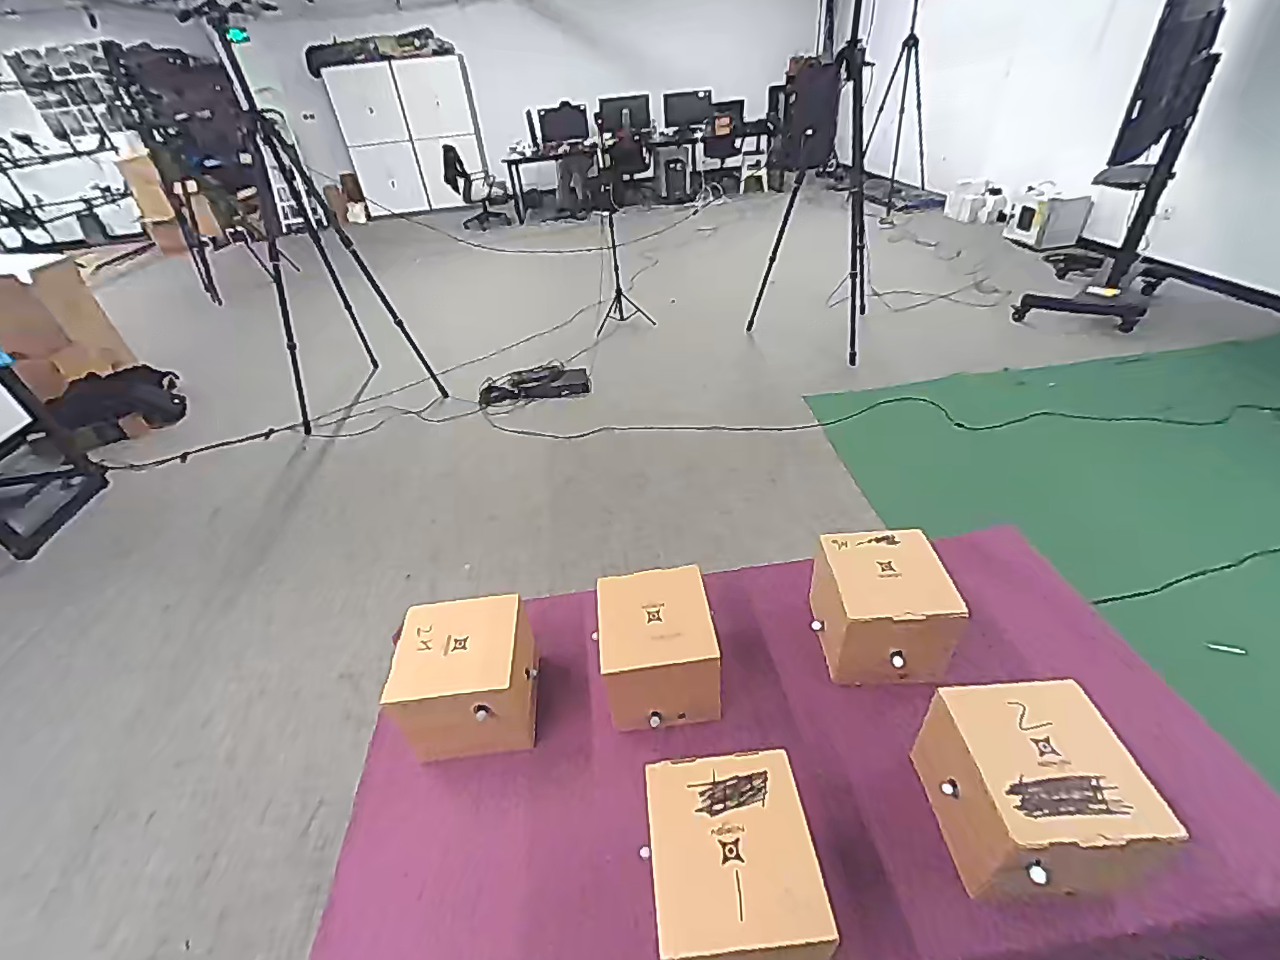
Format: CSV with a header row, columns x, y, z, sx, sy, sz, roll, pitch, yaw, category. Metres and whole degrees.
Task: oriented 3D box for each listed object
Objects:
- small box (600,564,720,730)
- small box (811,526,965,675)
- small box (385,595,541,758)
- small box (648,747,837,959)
x,y,z,sx,sy,sz,roll,pitch,yaw,category
0.029,0.259,0.846,0.168,0.176,0.179,-8,38,0,small box
0.380,0.197,0.864,0.168,0.176,0.179,-4,38,4,small box
-0.255,0.303,0.834,0.179,0.176,0.168,-7,37,-1,small box
0.101,0.432,0.605,0.168,0.176,0.179,-7,37,1,small box
